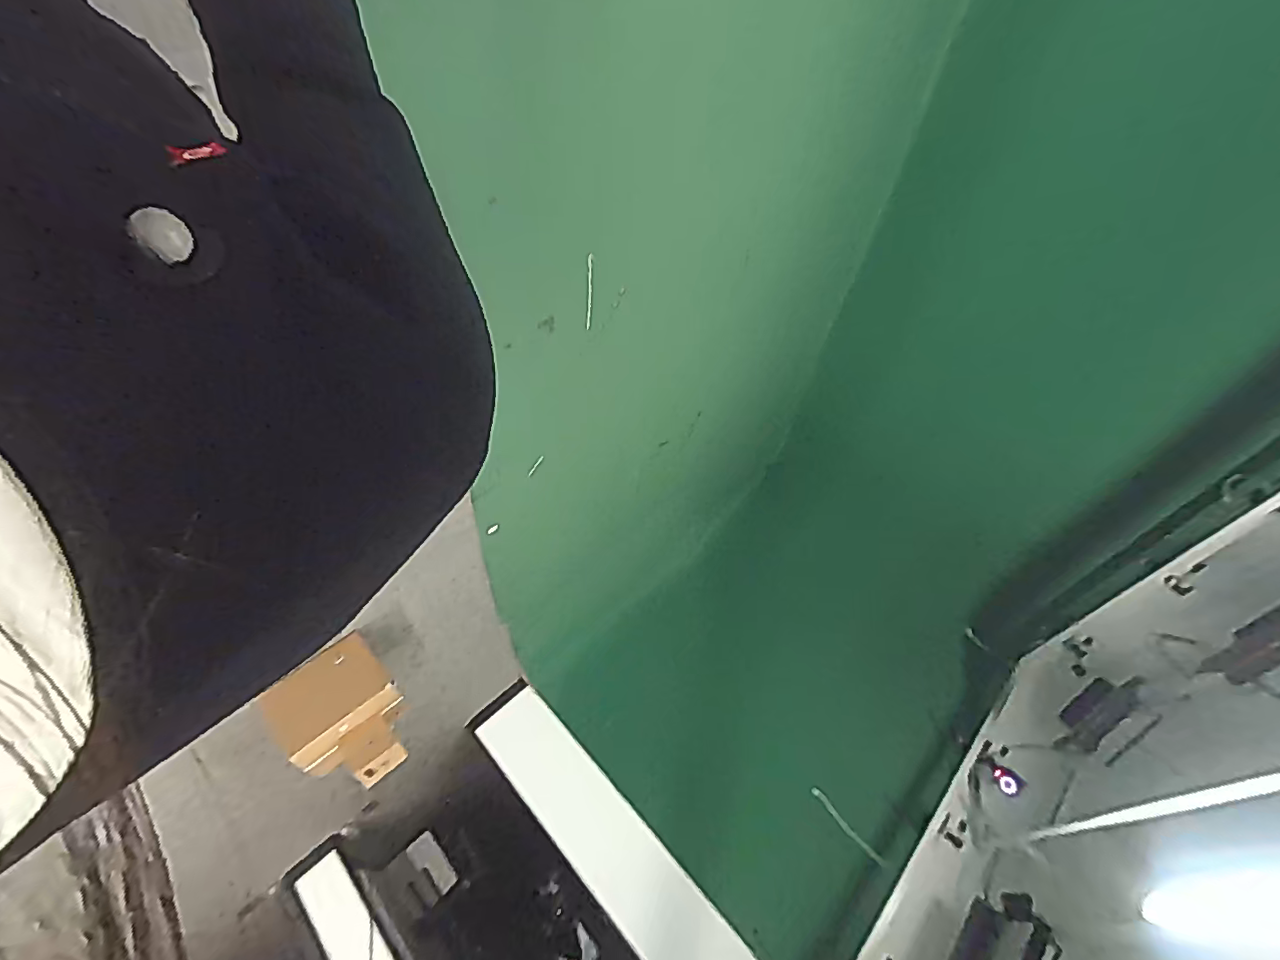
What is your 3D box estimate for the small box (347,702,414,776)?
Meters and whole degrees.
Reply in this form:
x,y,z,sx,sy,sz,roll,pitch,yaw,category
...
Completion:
x,y,z,sx,sy,sz,roll,pitch,yaw,category
-1.049,1.039,2.177,0.179,0.176,0.168,-35,145,-28,small box
